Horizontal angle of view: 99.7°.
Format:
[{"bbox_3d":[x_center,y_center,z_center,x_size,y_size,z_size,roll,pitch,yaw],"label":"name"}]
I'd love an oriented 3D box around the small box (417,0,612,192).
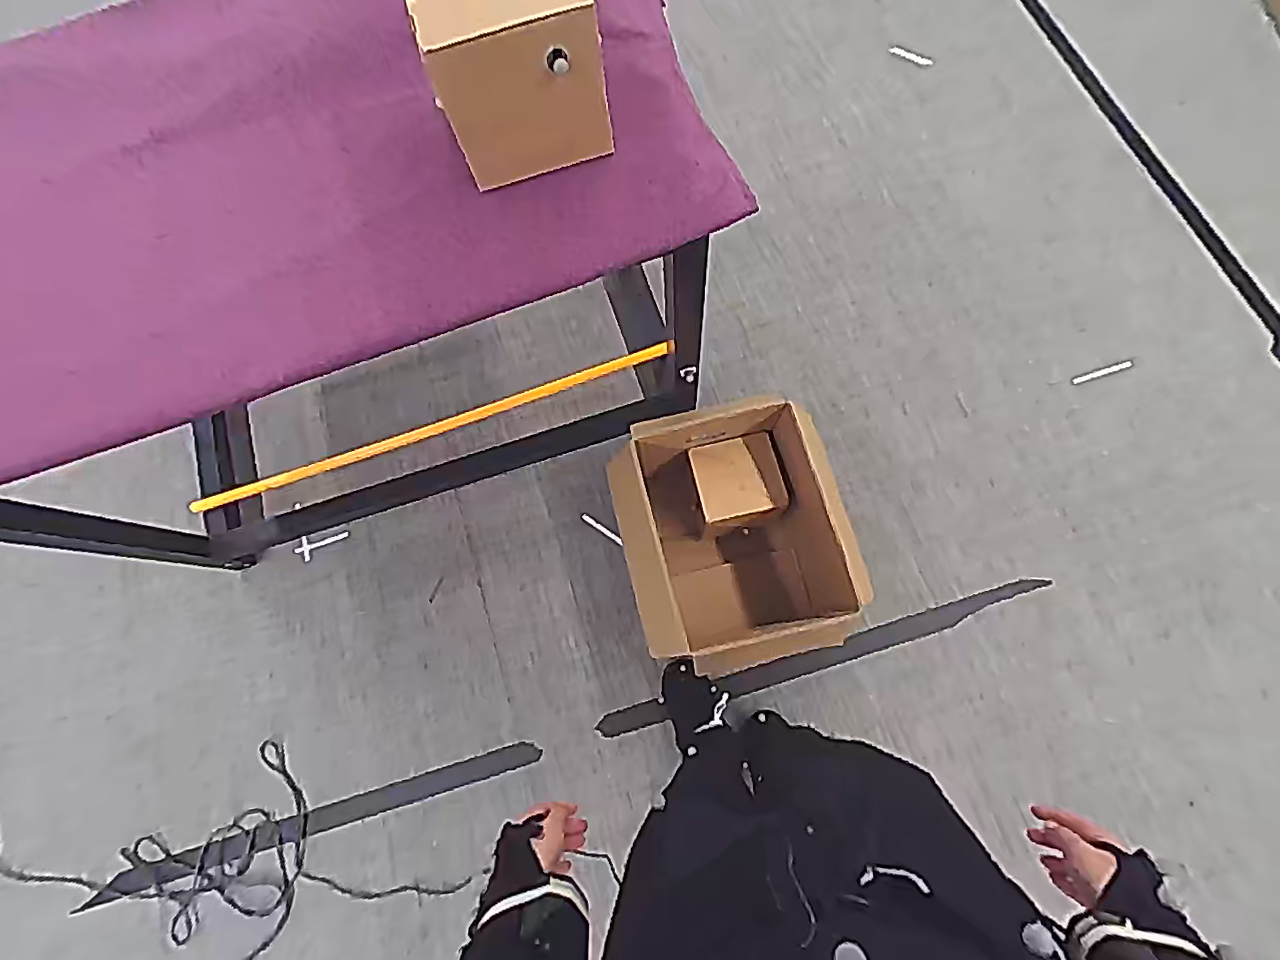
[{"bbox_3d":[-0.135,-0.474,0.621,0.179,0.176,0.168,-17,72,-1],"label":"small box"}]
